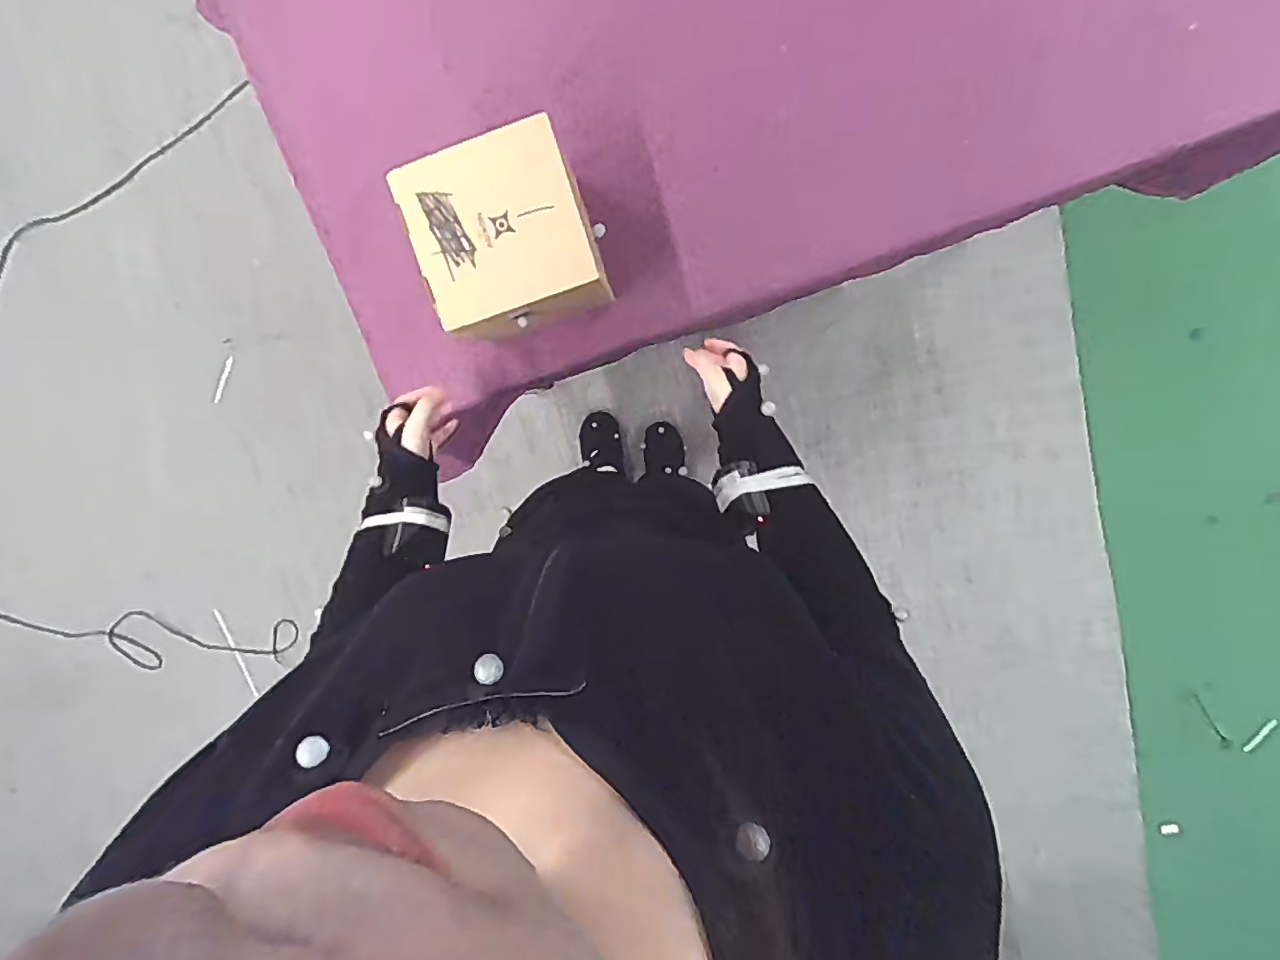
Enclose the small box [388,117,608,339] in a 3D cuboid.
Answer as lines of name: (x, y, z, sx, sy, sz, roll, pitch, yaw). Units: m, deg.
small box: (-0.148, -0.272, 0.630, 0.179, 0.176, 0.168, -17, 100, 5)
